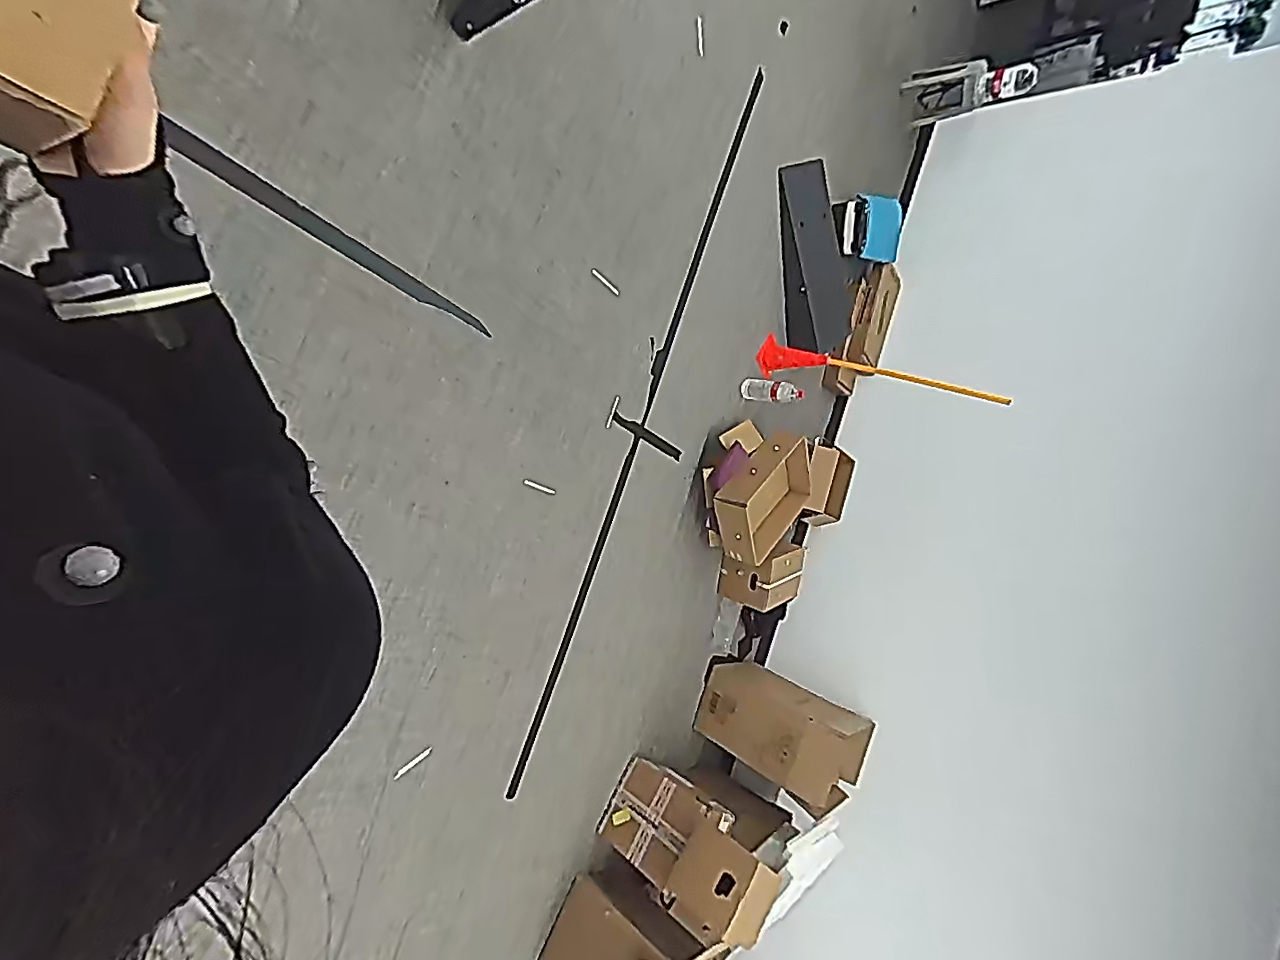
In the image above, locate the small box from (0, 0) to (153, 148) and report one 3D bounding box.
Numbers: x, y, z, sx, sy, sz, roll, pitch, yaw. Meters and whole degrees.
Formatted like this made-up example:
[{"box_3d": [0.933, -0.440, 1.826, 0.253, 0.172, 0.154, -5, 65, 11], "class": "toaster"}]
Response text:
[{"box_3d": [-0.305, -0.263, 0.210, 0.168, 0.176, 0.179, 22, 86, -57], "class": "small box"}]
